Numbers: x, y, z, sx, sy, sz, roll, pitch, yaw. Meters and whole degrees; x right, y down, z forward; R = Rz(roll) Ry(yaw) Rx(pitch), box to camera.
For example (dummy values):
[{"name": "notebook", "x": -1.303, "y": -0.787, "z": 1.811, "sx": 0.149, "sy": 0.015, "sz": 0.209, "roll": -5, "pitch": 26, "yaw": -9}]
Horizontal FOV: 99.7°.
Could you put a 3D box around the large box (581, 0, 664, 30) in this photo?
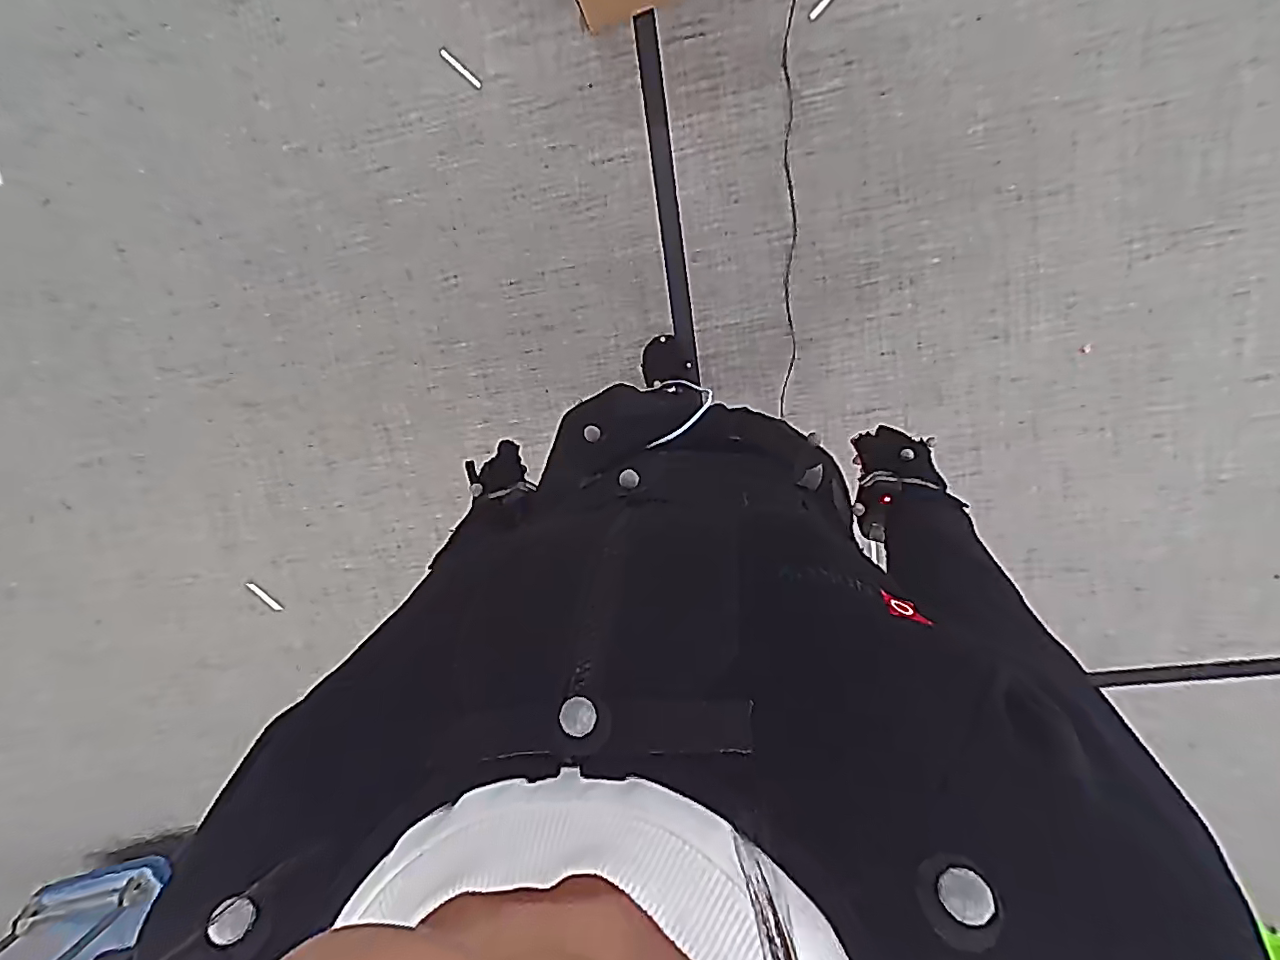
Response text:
[{"name": "large box", "x": 0.017, "y": -1.188, "z": 1.033, "sx": 0.408, "sy": 0.320, "sz": 0.320, "roll": -15, "pitch": 99, "yaw": 12}]
